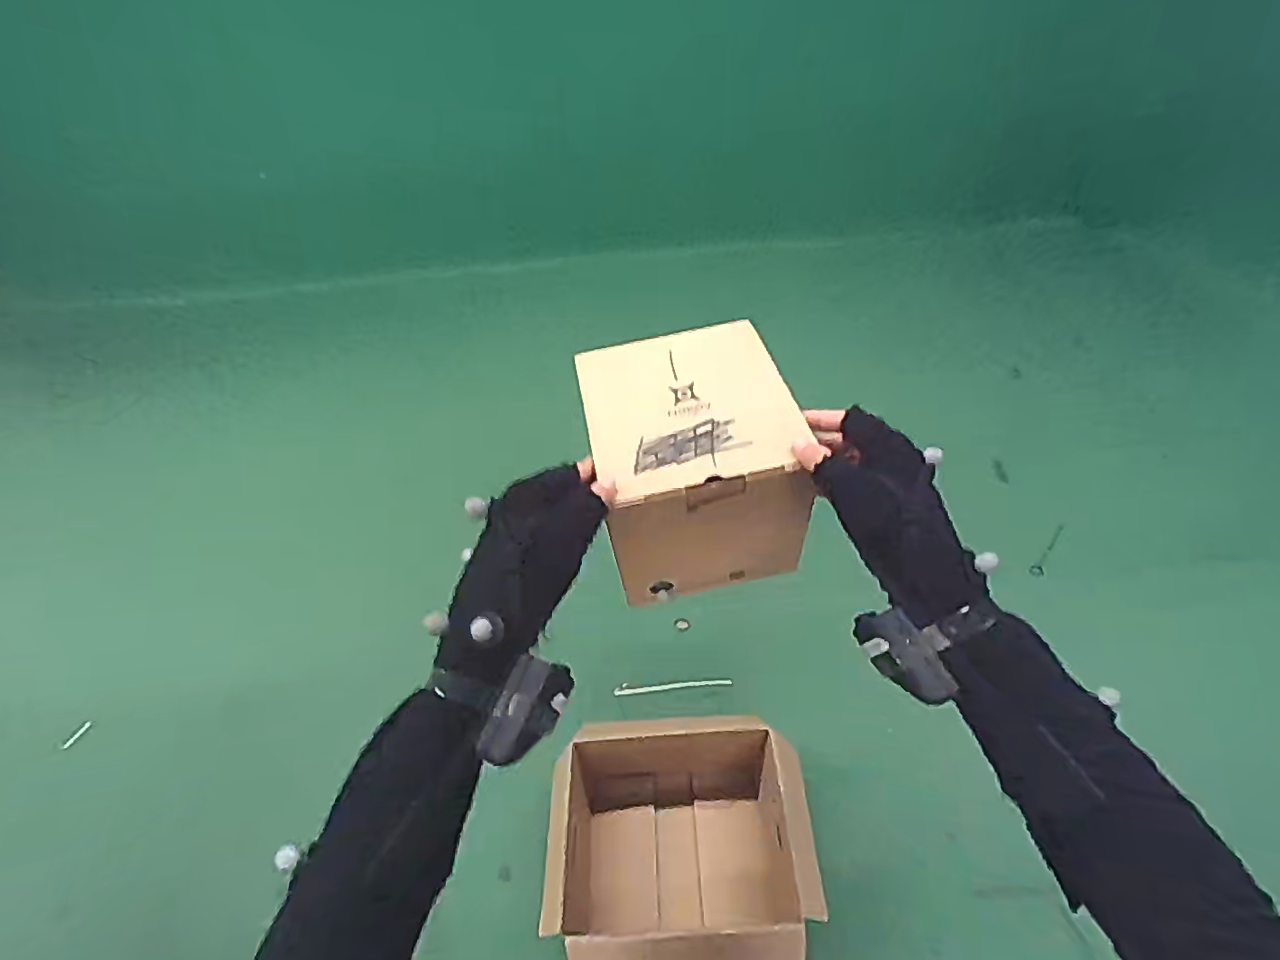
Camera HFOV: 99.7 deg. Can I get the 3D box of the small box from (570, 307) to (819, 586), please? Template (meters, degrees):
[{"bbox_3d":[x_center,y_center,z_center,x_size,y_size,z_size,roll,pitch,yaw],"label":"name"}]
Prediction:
[{"bbox_3d":[0.041,-0.021,0.485,0.168,0.176,0.179,-12,51,-3],"label":"small box"}]
